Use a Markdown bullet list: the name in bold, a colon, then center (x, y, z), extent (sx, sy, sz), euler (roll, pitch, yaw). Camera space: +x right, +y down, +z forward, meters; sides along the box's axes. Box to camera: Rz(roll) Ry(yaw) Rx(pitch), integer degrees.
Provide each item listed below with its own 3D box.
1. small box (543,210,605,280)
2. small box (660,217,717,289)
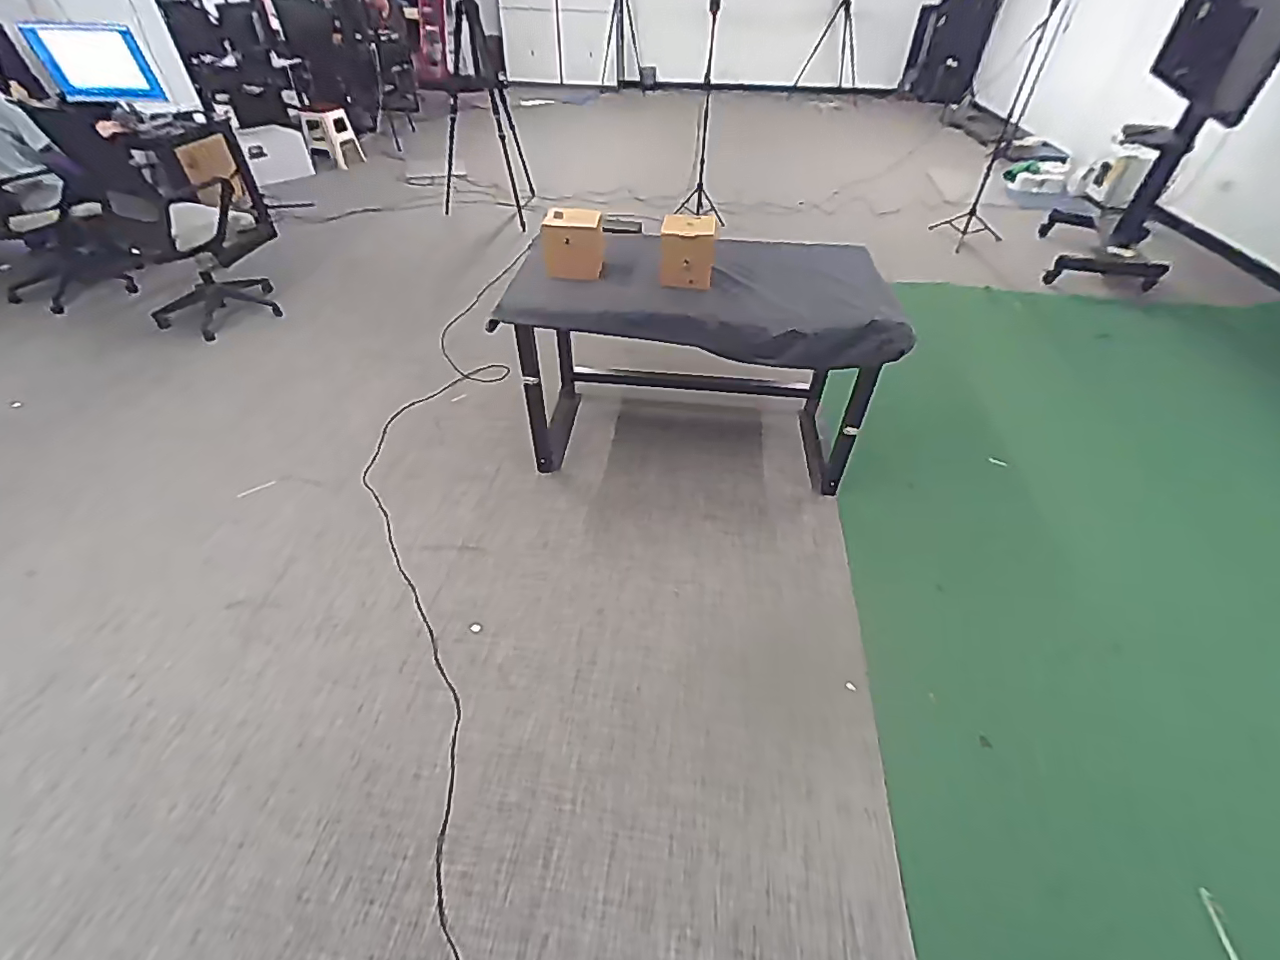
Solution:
- **small box**: center (-0.210, -0.772, 1.781), extent (0.179, 0.176, 0.168), euler (4, 44, 1)
- **small box**: center (0.157, -0.732, 1.748), extent (0.168, 0.176, 0.179), euler (6, 44, 5)
